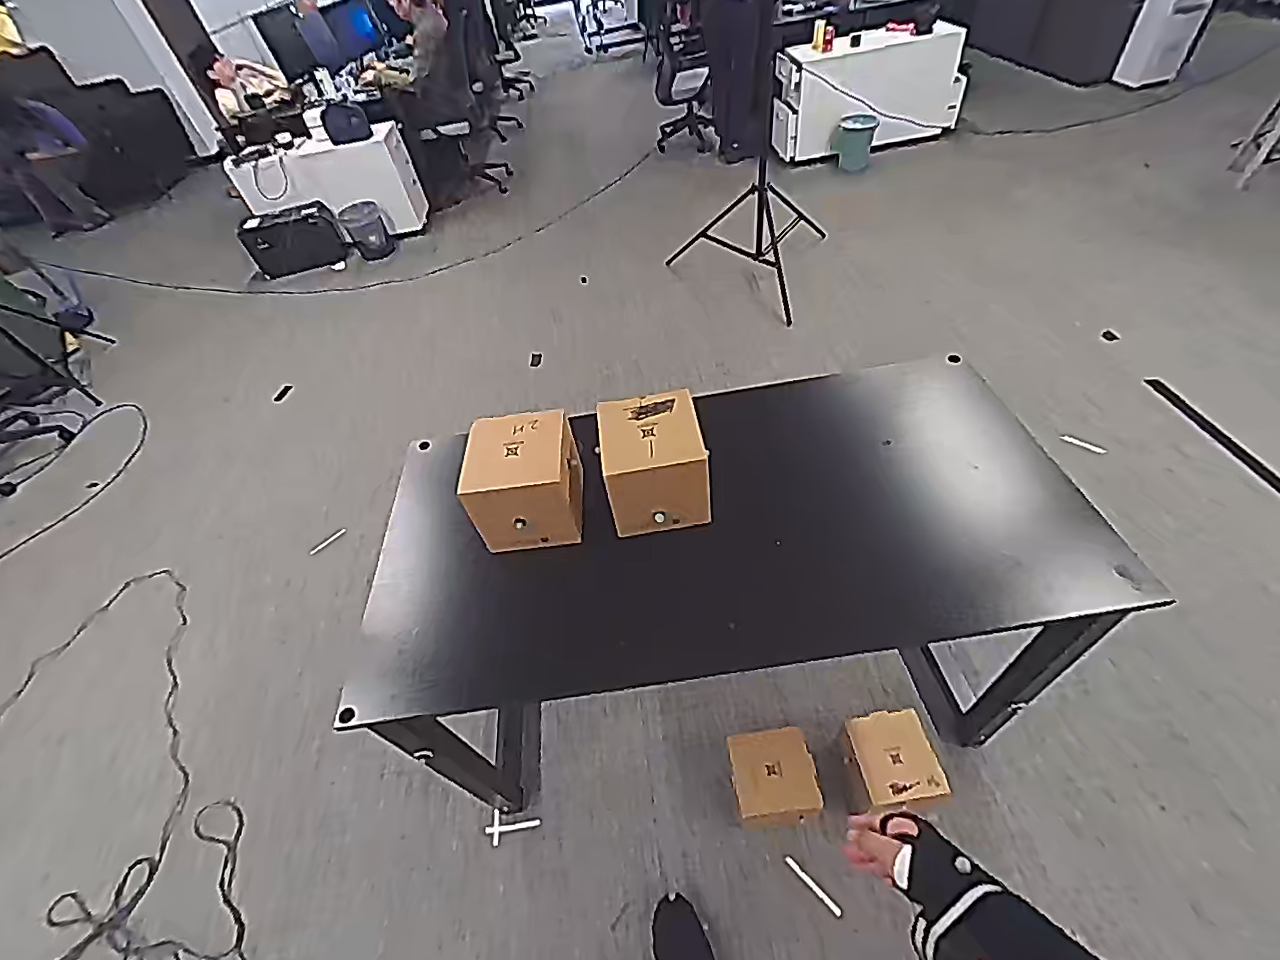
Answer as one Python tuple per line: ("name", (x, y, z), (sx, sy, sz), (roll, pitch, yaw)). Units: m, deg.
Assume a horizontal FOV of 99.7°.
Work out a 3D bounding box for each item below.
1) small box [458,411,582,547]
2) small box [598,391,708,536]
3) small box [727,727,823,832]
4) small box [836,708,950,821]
("small box", (-0.200, 0.005, 0.955), (0.168, 0.176, 0.179), (-7, 48, 3))
("small box", (0.023, -0.028, 0.945), (0.168, 0.176, 0.179), (-10, 48, 1))
("small box", (0.301, 0.690, 1.242), (0.179, 0.176, 0.168), (-10, 47, 2))
("small box", (0.561, 0.648, 1.230), (0.168, 0.176, 0.179), (-11, 47, 1))
